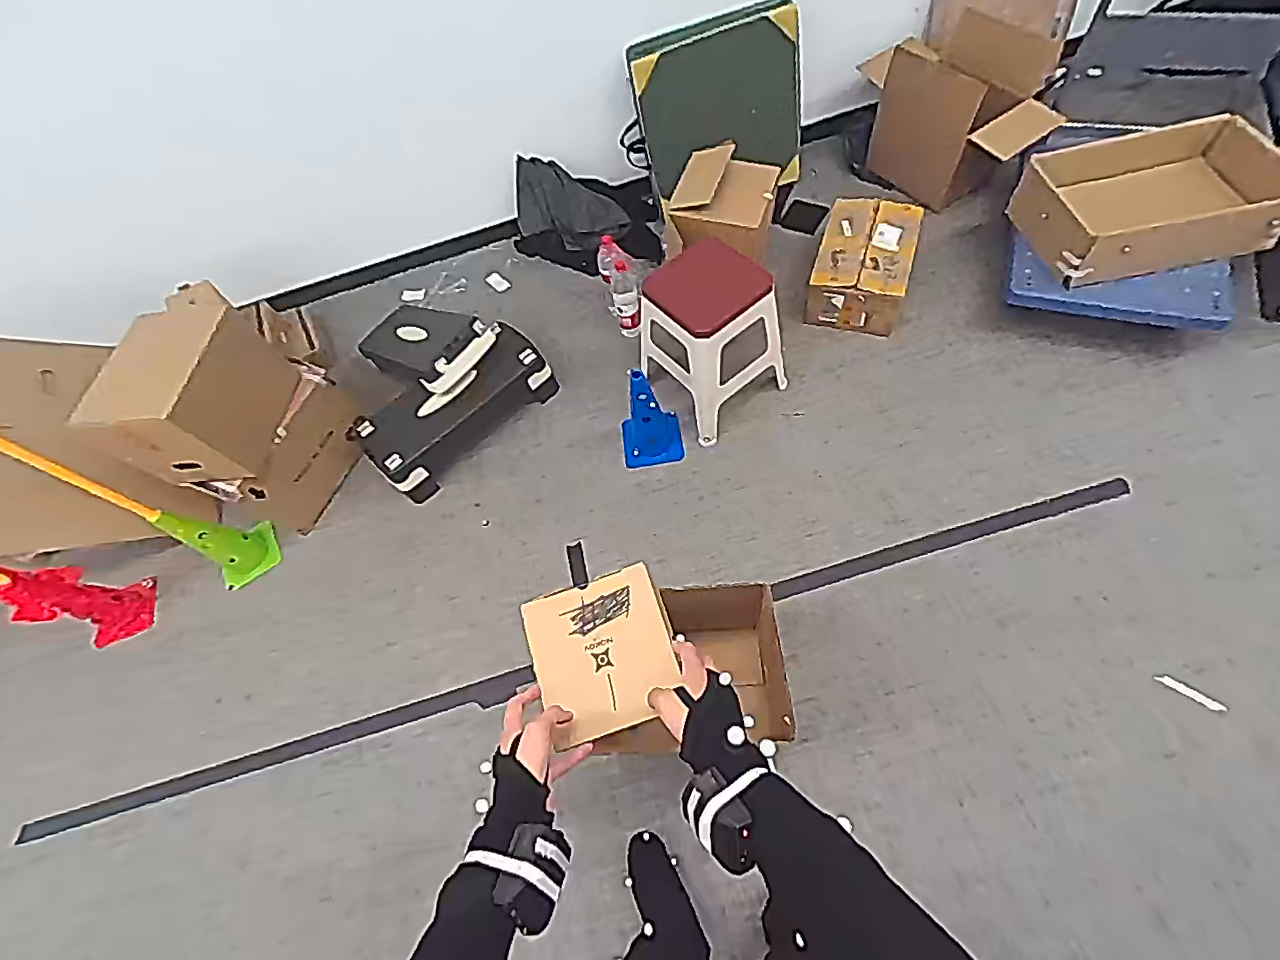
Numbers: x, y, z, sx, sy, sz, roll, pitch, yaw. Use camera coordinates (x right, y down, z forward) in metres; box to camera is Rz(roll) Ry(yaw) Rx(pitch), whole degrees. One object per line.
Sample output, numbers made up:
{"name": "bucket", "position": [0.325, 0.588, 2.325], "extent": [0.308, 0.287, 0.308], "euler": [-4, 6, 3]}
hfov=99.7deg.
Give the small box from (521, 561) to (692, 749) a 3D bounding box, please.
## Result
{"name": "small box", "position": [-0.037, 0.228, 0.702], "extent": [0.168, 0.176, 0.179], "euler": [-19, 68, 0]}
